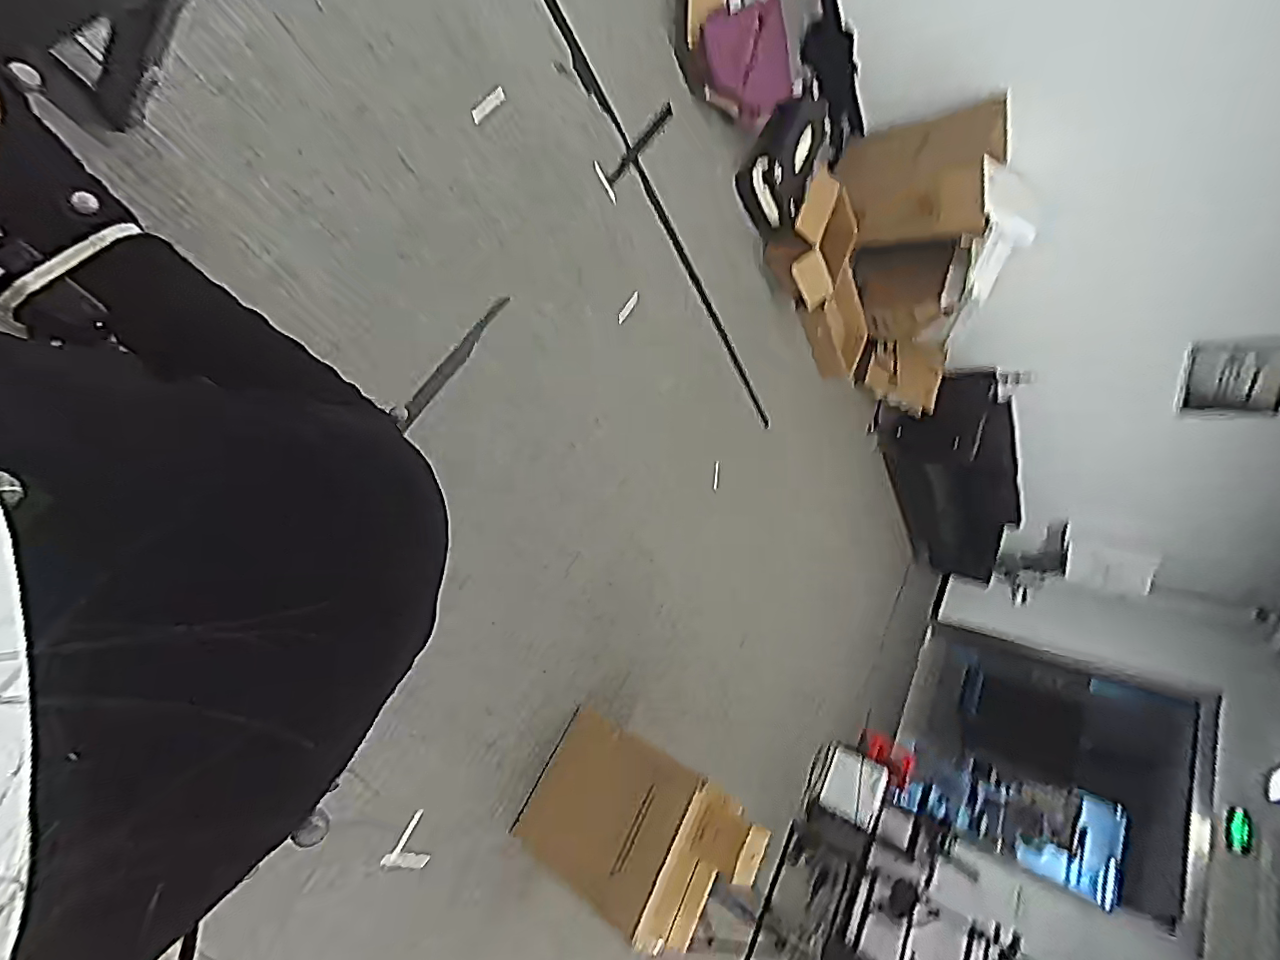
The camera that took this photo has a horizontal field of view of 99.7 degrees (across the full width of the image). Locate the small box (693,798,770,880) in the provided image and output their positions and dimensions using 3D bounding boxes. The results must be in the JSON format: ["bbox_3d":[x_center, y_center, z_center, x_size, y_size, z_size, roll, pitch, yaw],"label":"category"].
[{"bbox_3d":[0.312,1.217,1.838,0.179,0.176,0.168,49,62,-40],"label":"small box"}]
